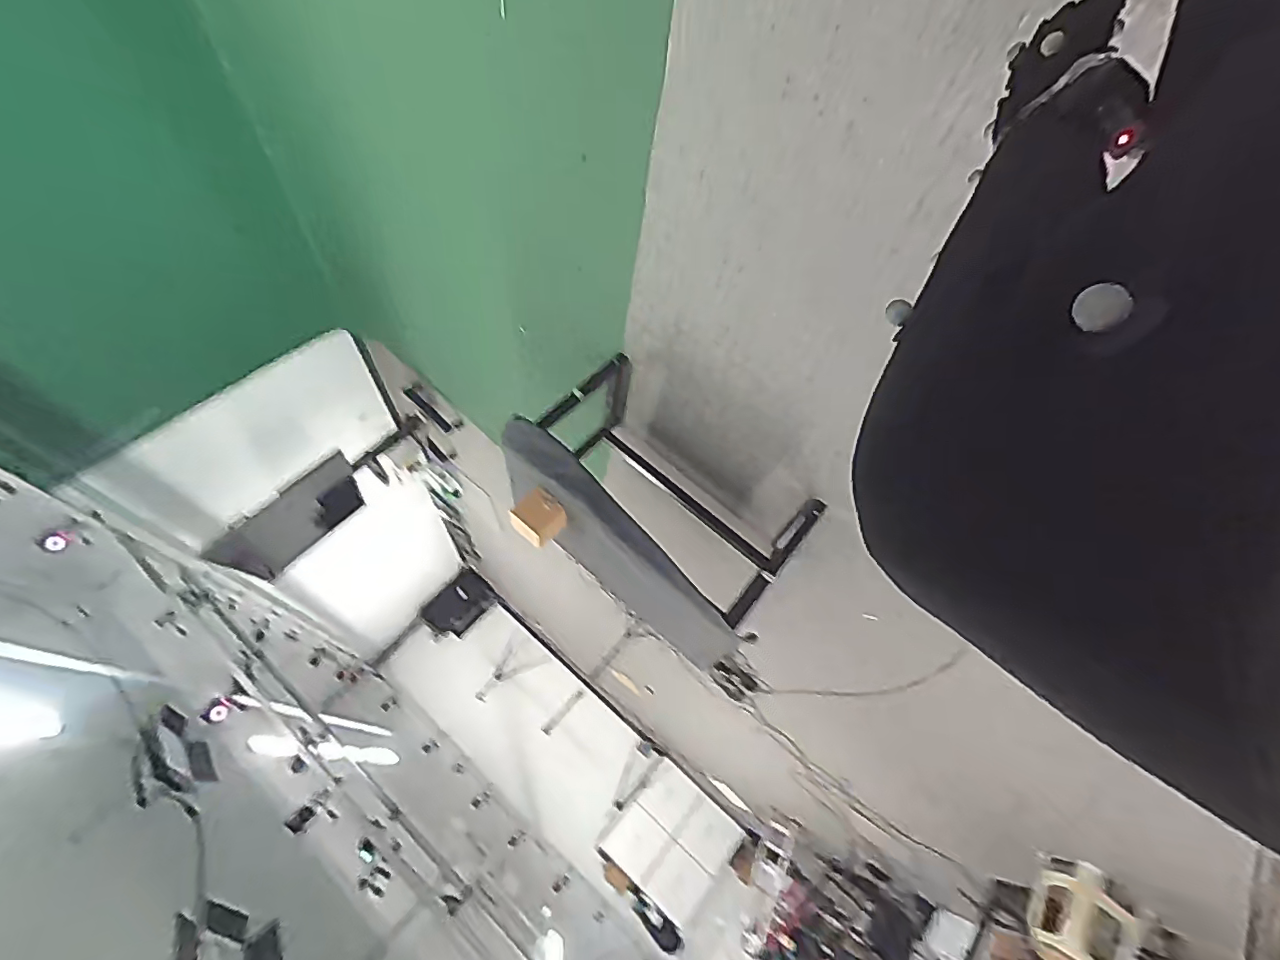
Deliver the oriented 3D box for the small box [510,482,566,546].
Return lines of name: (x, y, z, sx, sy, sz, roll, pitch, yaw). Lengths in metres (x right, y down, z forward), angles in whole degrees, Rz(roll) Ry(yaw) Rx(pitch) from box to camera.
small box: (-0.428, 0.144, 2.289, 0.168, 0.176, 0.179, 37, 153, 12)
